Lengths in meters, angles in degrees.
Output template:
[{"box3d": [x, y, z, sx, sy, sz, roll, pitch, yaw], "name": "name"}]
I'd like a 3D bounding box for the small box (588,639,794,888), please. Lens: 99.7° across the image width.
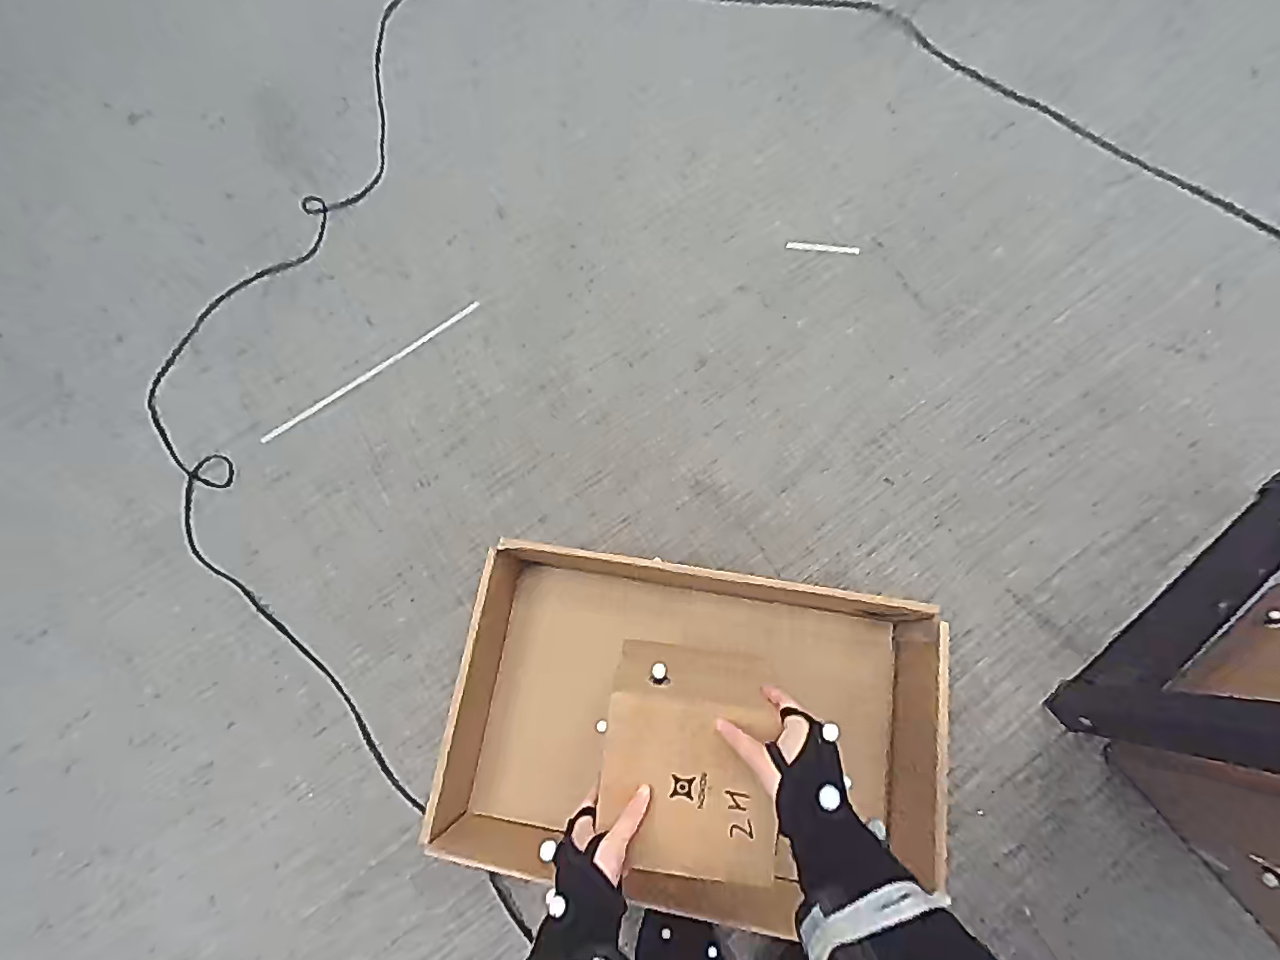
[{"box3d": [0.051, 0.284, 0.582, 0.179, 0.176, 0.168, 7, 94, 3], "name": "small box"}]
